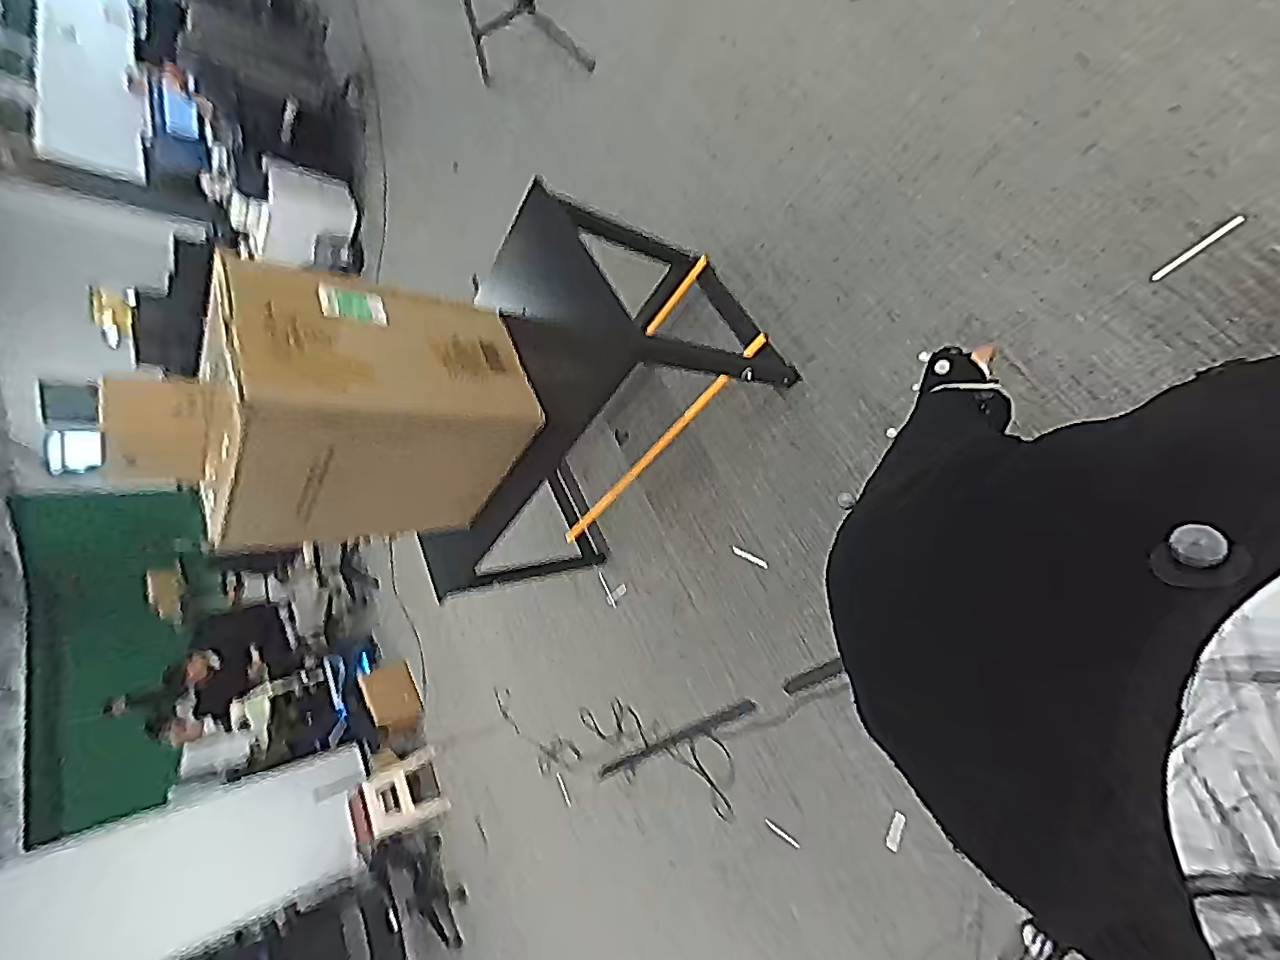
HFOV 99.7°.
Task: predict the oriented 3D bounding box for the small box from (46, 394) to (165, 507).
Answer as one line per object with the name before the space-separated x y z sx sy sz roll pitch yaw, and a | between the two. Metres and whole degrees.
small box | -1.126 -0.056 1.146 0.179 0.176 0.168 -44 61 35
